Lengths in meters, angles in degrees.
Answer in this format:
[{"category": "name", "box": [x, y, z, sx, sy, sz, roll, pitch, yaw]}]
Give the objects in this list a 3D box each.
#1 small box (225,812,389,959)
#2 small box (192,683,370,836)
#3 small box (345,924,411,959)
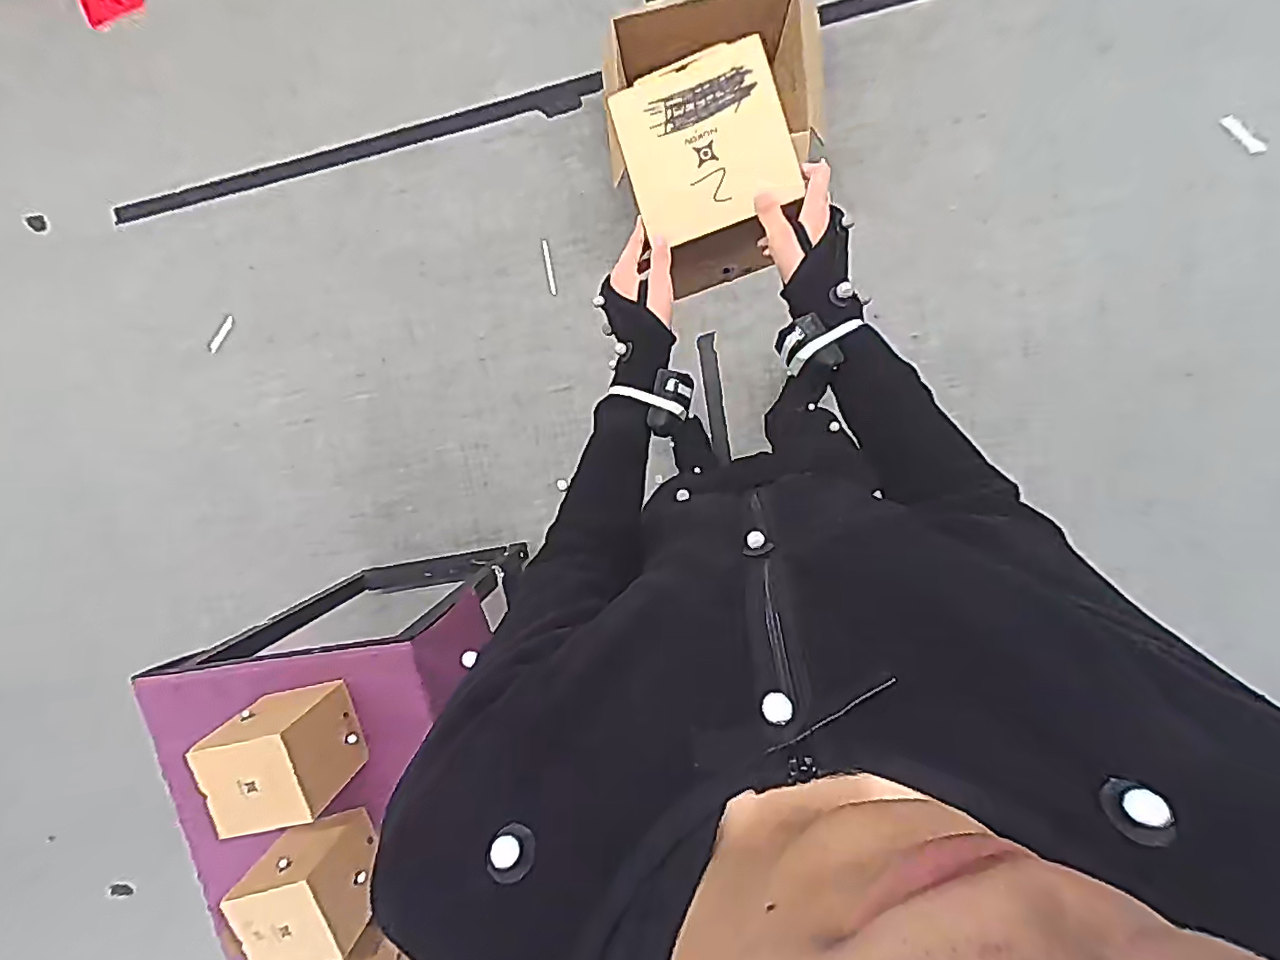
[{"category": "small box", "box": [-0.599, 0.758, 1.003, 0.179, 0.176, 0.168, -19, 96, 9]}, {"category": "small box", "box": [-0.627, 0.490, 0.965, 0.179, 0.176, 0.168, -13, 98, 8]}, {"category": "small box", "box": [-0.563, 1.007, 1.039, 0.179, 0.176, 0.168, -14, 97, 7]}]
